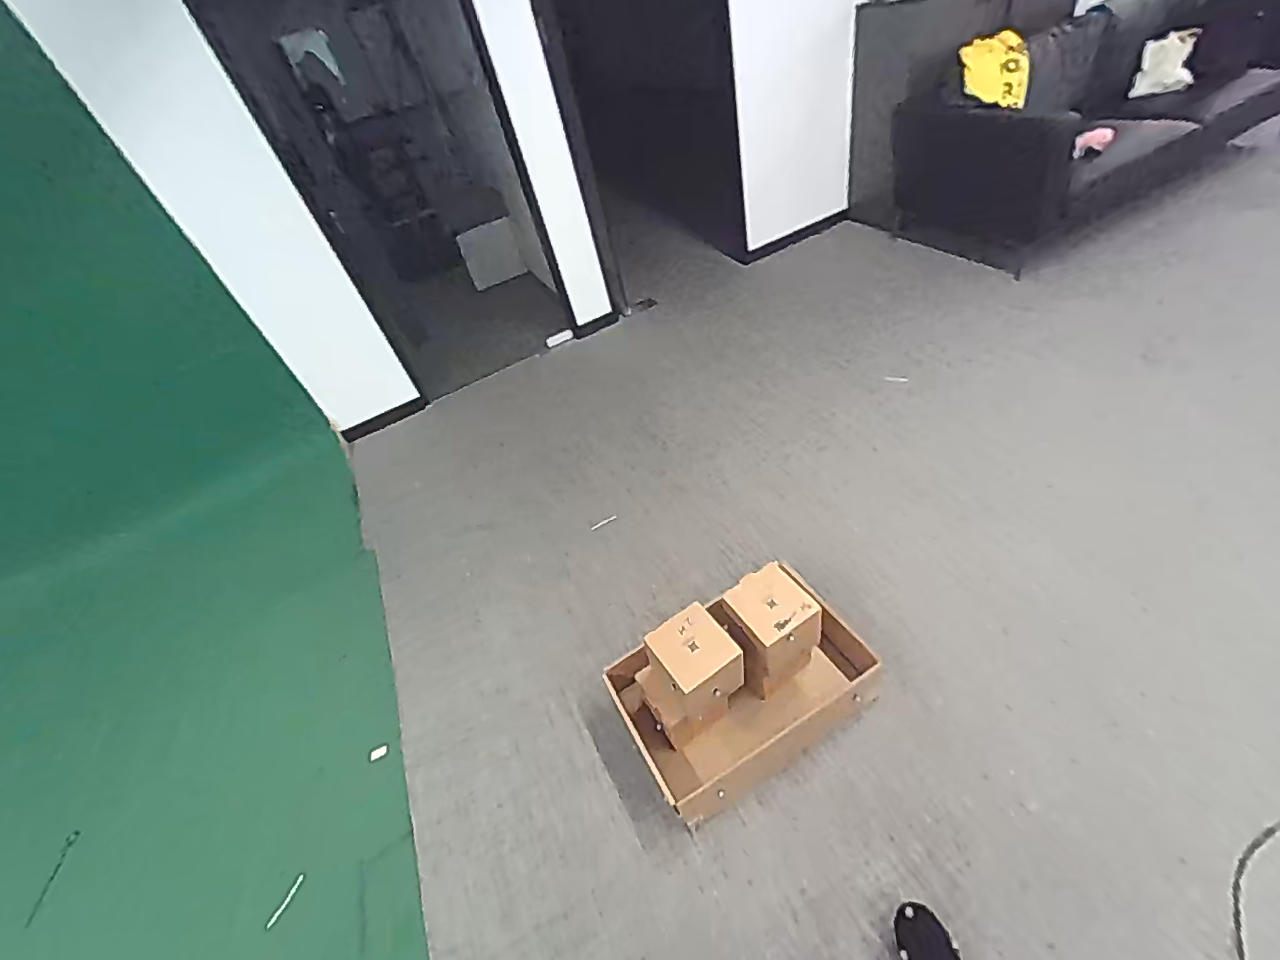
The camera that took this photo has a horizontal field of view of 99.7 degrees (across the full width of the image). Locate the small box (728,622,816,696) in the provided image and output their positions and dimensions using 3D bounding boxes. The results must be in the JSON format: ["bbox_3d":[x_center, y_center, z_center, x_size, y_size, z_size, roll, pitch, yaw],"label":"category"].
[{"bbox_3d":[0.364,0.451,1.474,0.179,0.176,0.168,-34,46,-16],"label":"small box"}]

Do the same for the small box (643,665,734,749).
[{"bbox_3d":[0.133,0.570,1.427,0.179,0.176,0.168,-29,46,-15],"label":"small box"}]

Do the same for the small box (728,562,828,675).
[{"bbox_3d":[0.344,0.346,1.347,0.168,0.176,0.179,-32,45,-12],"label":"small box"}]

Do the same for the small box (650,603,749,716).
[{"bbox_3d":[0.150,0.443,1.314,0.168,0.176,0.179,-31,46,-17],"label":"small box"}]
